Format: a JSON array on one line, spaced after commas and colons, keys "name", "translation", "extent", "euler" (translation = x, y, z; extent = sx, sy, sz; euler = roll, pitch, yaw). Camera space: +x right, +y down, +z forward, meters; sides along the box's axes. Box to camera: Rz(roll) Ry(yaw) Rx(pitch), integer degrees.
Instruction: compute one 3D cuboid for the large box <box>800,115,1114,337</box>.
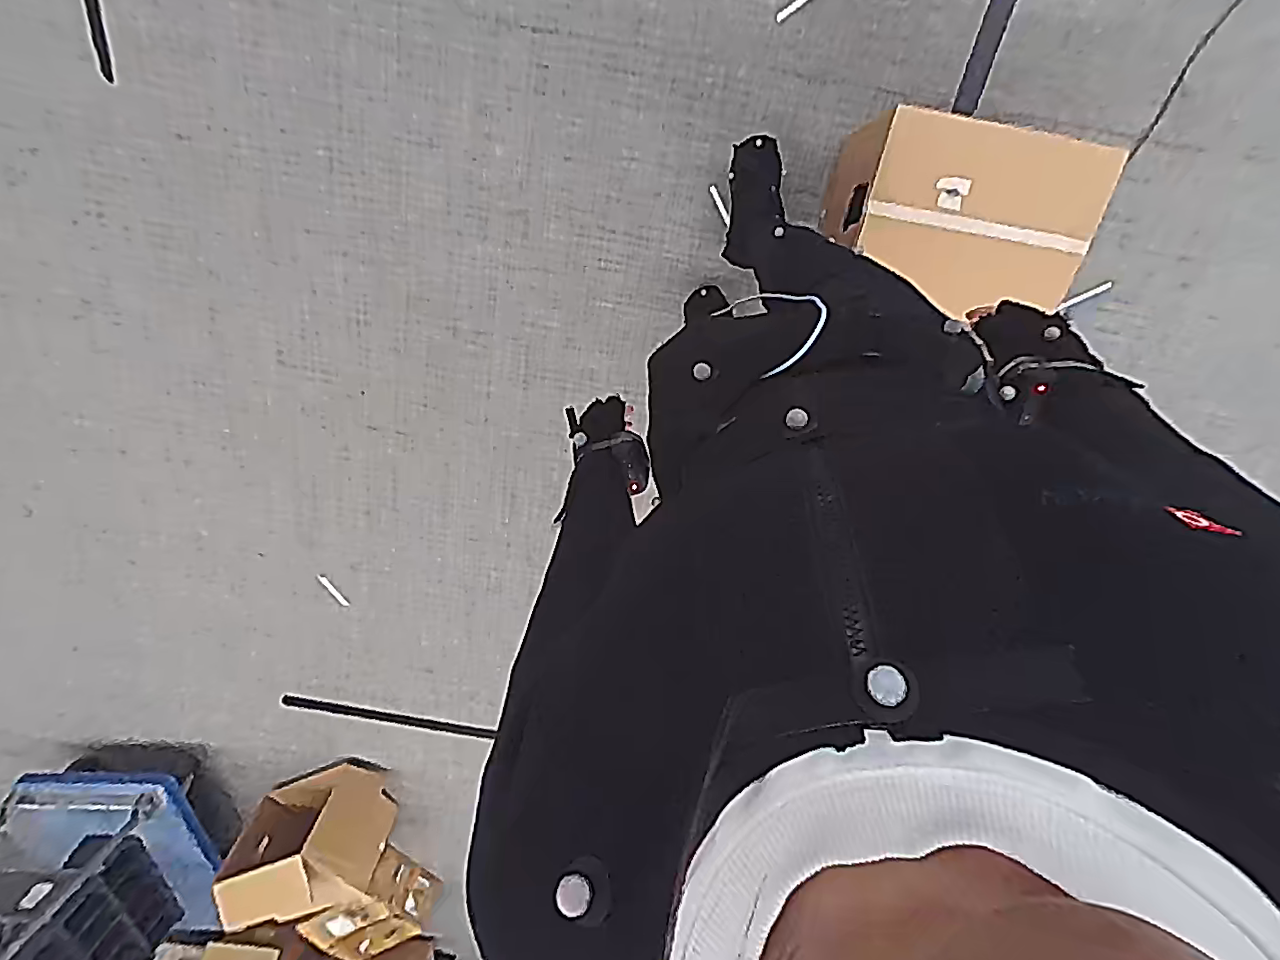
[{"name": "large box", "translation": [0.591, -0.499, 1.101], "extent": [0.408, 0.320, 0.320], "euler": [11, 112, 0]}]
